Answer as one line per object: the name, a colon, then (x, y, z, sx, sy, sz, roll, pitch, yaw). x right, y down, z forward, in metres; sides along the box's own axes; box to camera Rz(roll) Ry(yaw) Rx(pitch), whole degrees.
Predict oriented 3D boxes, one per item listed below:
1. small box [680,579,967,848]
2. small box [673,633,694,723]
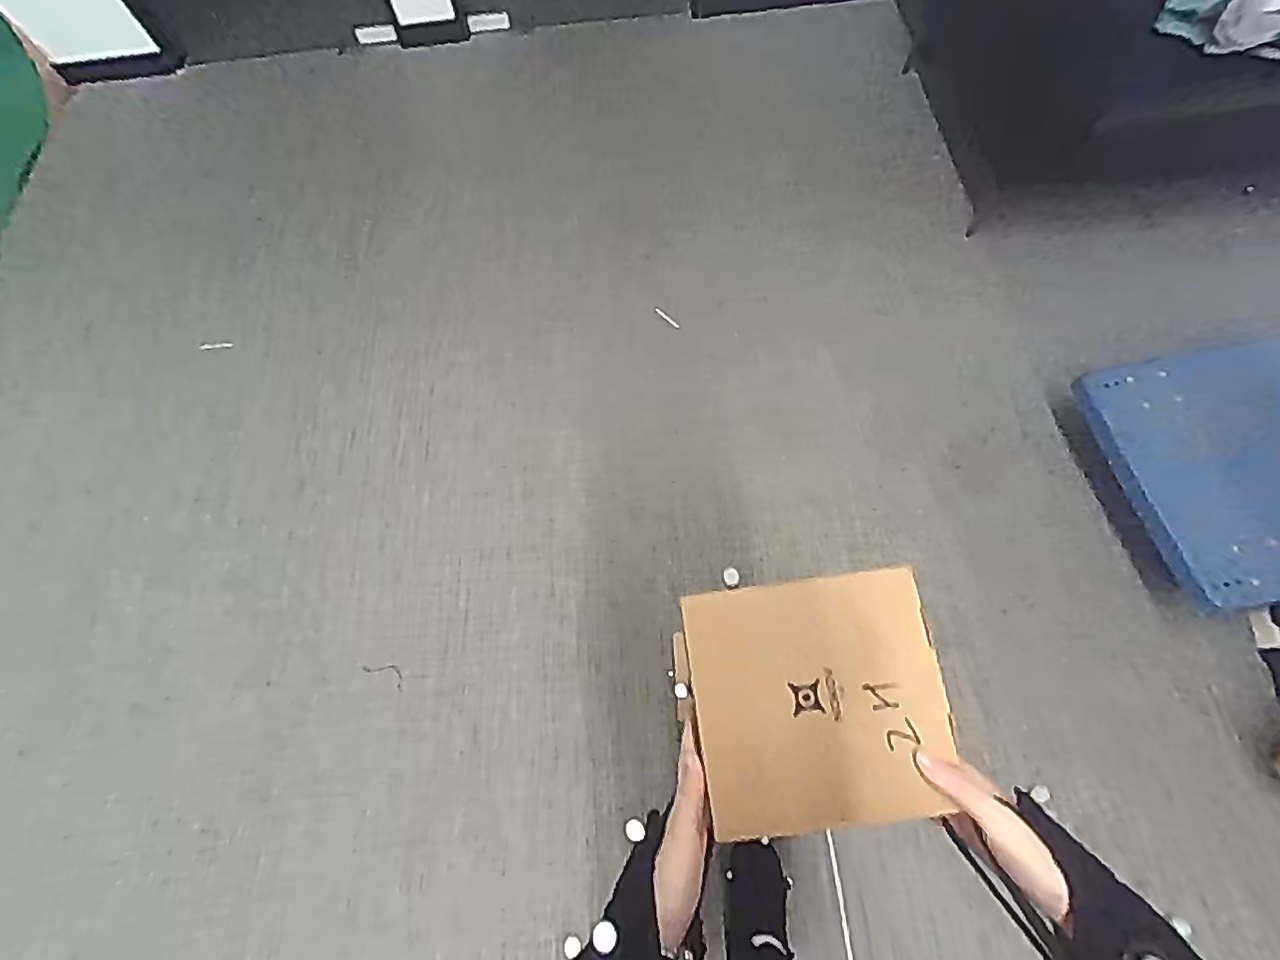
small box: (0.131, 0.182, 0.462, 0.179, 0.176, 0.168, -8, 77, 1)
small box: (0.160, 0.427, 1.176, 0.168, 0.176, 0.179, -3, 67, 2)
